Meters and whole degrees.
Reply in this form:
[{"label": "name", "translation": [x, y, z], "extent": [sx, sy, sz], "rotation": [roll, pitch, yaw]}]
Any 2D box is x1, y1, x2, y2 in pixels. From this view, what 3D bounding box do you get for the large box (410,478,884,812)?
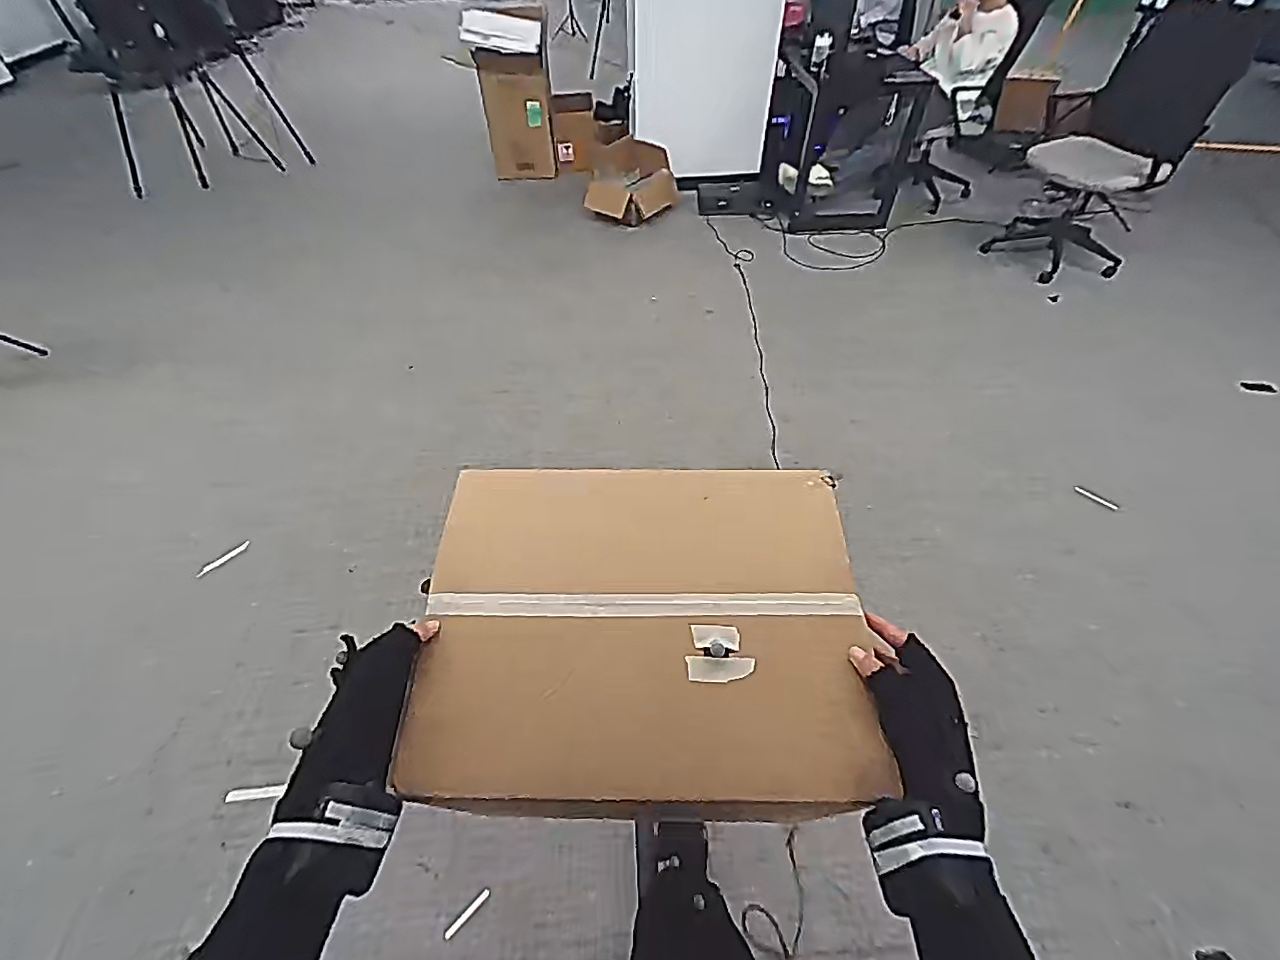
[{"label": "large box", "translation": [0.005, 0.208, 0.651], "extent": [0.408, 0.320, 0.320], "rotation": [1, 56, 1]}]
